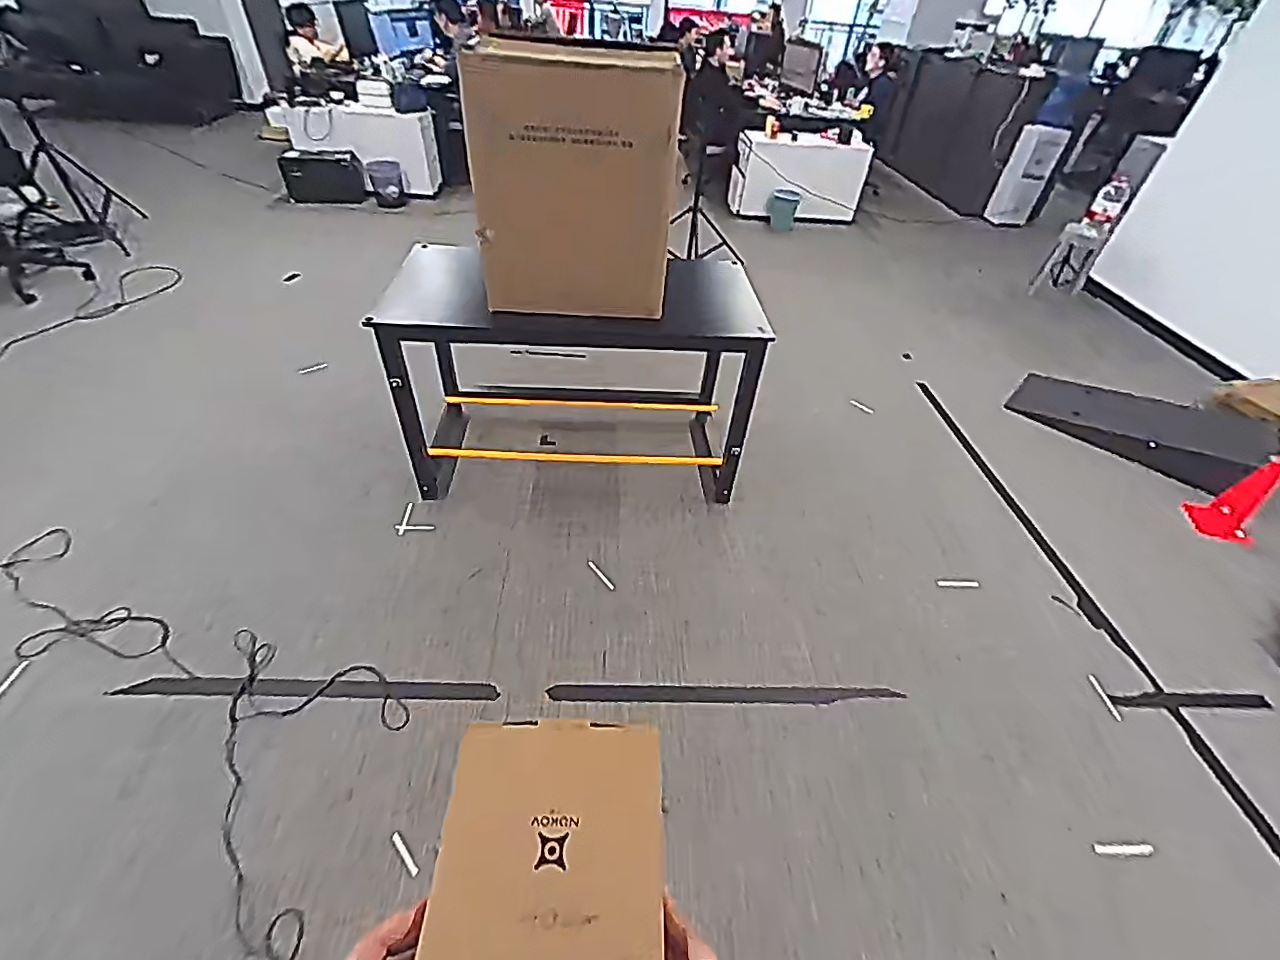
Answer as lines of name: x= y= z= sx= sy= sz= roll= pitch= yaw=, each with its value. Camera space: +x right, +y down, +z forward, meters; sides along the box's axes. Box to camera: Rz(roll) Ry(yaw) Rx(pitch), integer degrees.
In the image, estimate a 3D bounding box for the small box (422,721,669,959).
small box: x=-0.066 y=0.326 z=0.458 sx=0.168 sy=0.176 sz=0.179 roll=2 pitch=47 yaw=-2
